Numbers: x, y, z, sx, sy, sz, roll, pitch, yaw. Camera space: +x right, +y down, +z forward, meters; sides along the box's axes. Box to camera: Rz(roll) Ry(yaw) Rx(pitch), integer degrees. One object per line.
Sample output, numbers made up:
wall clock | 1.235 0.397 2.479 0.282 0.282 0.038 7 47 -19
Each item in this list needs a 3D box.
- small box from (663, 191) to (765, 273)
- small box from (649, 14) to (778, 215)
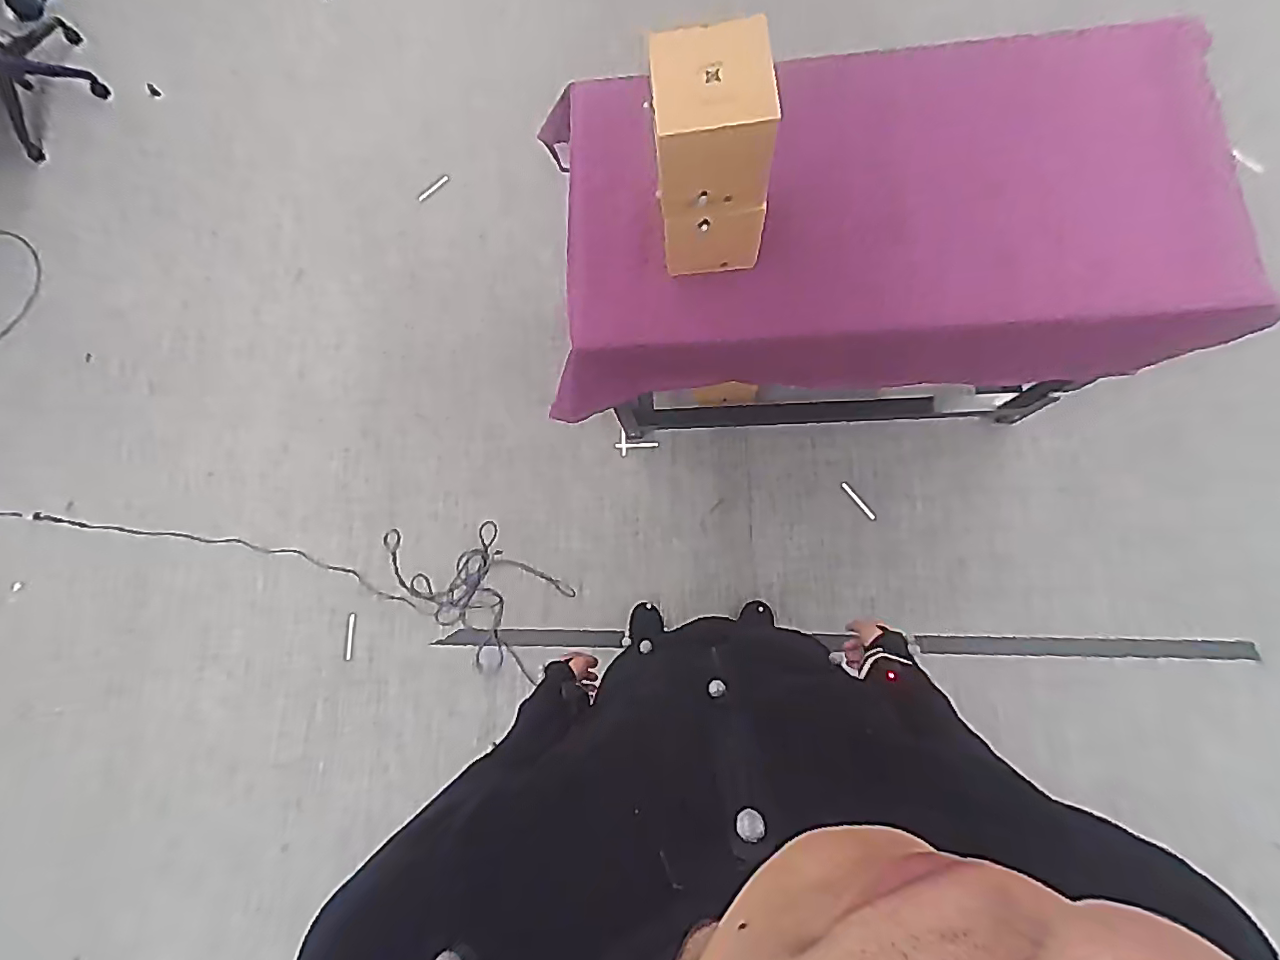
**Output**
small box | 0.123 -0.500 0.967 0.168 0.176 0.179 -4 78 5
small box | 0.102 -0.534 0.808 0.168 0.176 0.179 -5 79 5
